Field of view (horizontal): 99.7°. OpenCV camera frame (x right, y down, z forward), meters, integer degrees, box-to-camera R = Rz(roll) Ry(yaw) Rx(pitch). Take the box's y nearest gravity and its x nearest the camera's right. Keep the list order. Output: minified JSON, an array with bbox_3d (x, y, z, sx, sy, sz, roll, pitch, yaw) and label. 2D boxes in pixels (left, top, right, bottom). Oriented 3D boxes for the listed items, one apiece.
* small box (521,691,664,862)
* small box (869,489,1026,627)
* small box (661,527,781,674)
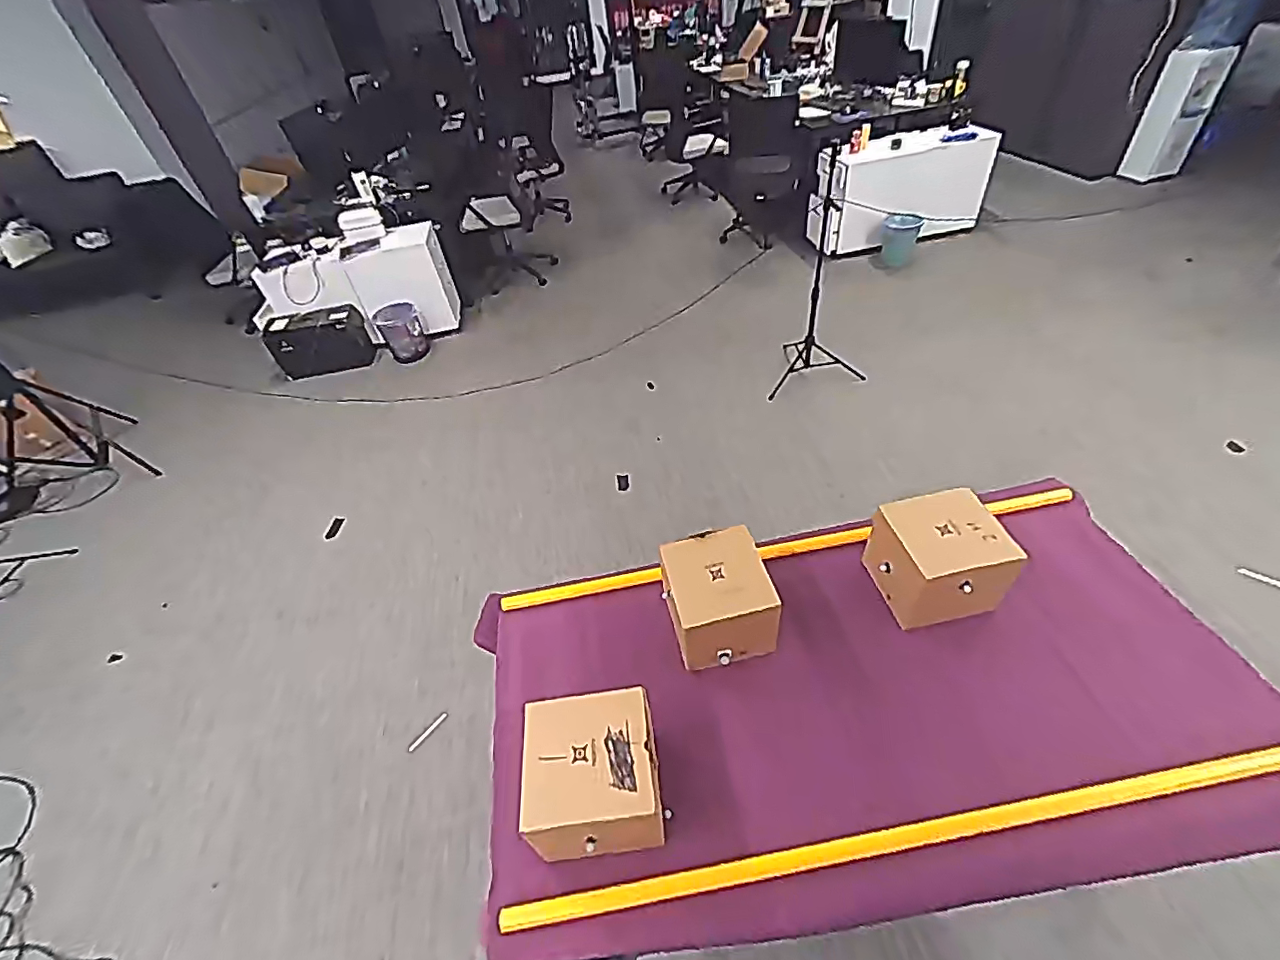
[{"bbox_3d":[-0.061,0.428,0.779,0.179,0.176,0.168,-8,44,0],"label":"small box"},{"bbox_3d":[0.534,0.144,0.976,0.179,0.176,0.168,-11,45,-2],"label":"small box"},{"bbox_3d":[0.139,0.216,0.970,0.168,0.176,0.179,-14,45,-4],"label":"small box"}]
